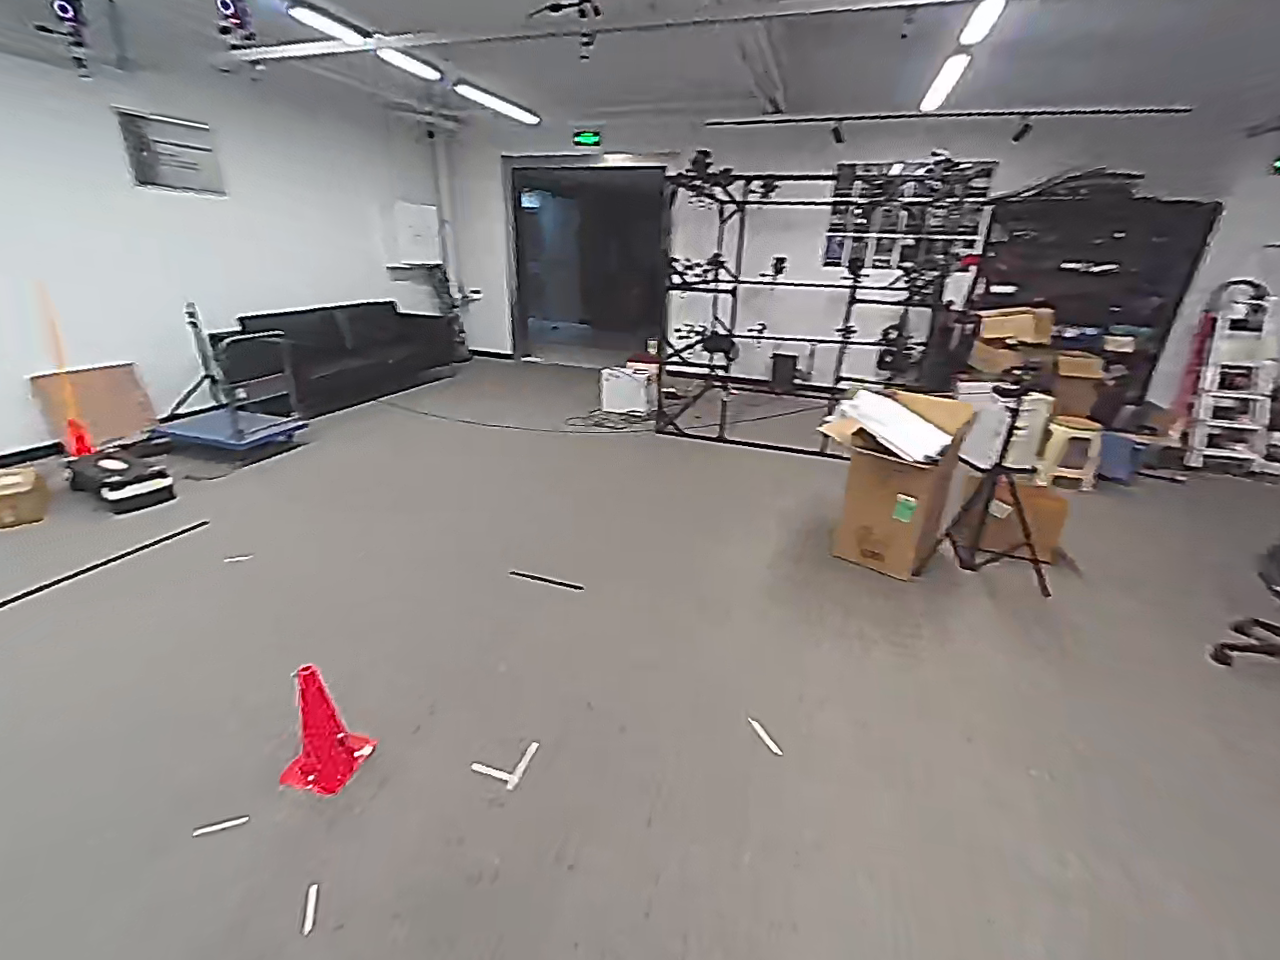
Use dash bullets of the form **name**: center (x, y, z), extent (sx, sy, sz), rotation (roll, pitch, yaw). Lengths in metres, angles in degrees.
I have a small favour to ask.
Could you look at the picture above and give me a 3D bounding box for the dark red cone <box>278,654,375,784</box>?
- **dark red cone**: center (-0.929, 0.665, 1.561), extent (0.202, 0.394, 0.201), rotation (7, 24, 11)
